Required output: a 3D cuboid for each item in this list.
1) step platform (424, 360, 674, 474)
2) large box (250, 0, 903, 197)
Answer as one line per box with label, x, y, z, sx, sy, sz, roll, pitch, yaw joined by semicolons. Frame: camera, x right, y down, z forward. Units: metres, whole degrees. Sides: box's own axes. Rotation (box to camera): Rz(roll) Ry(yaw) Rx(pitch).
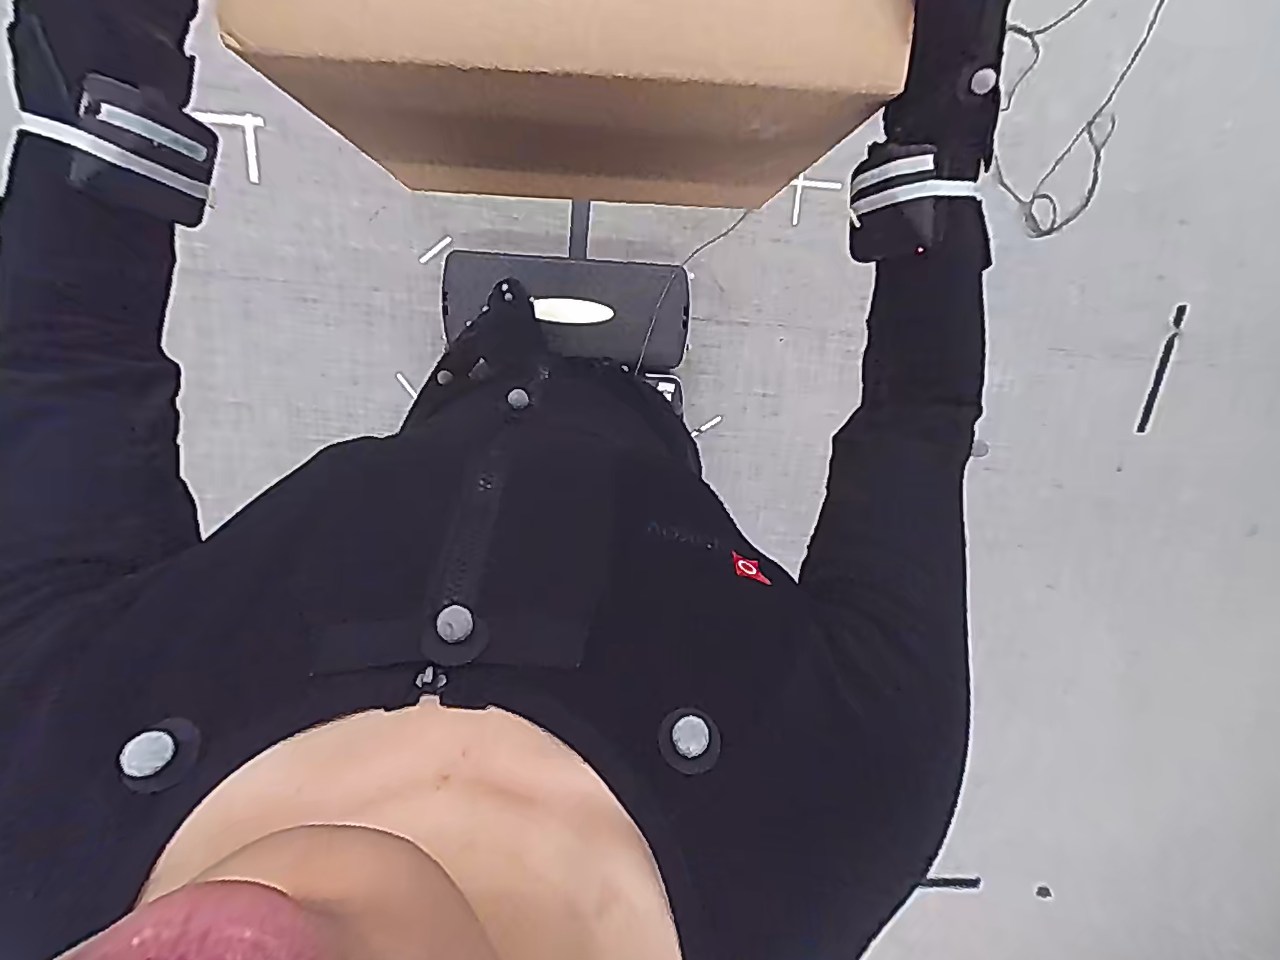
step platform;-0.245;-0.177;1.527;0.684;0.204;0.286;2;103;-3
large box;-0.043;-0.442;0.443;0.408;0.320;0.320;0;105;-5
